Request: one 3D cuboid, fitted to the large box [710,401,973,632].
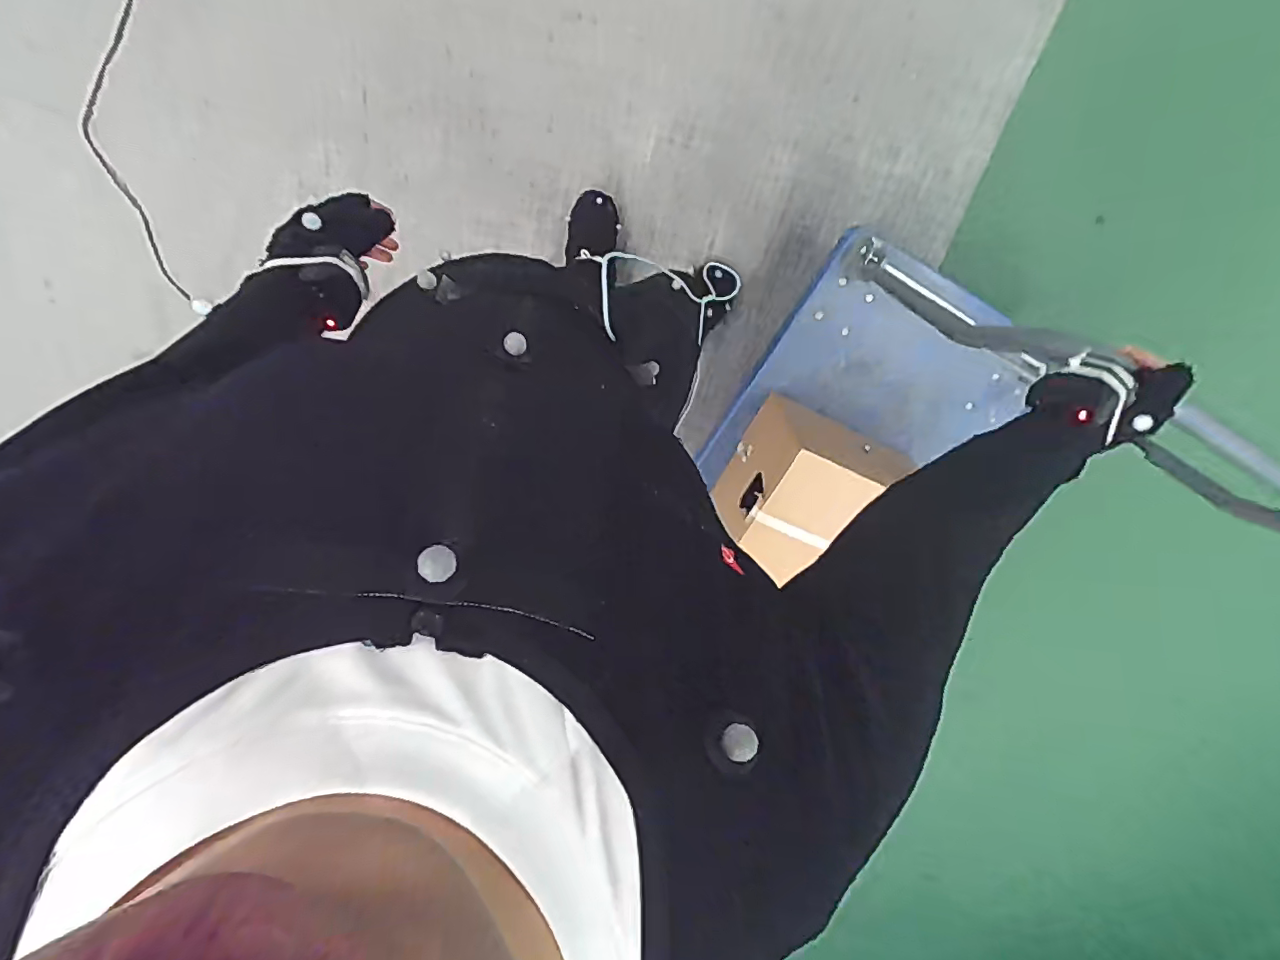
[{"bbox_3d":[0.412,0.072,1.215,0.408,0.320,0.320,22,118,-10],"label":"large box"}]
